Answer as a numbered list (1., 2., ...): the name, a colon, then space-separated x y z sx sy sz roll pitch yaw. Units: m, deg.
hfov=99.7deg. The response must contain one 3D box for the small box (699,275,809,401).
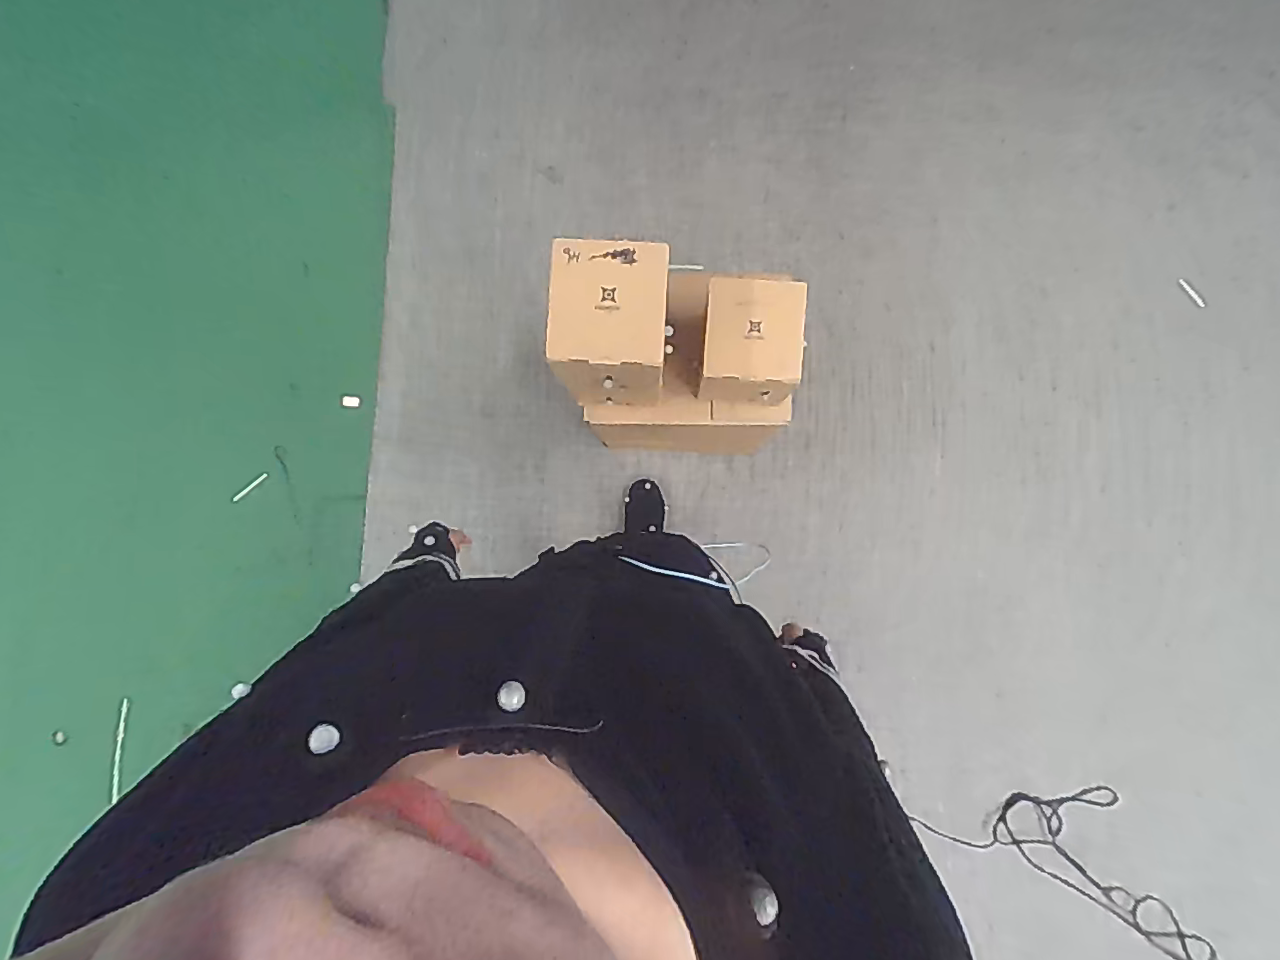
1. small box: 0.198 -0.247 0.982 0.168 0.176 0.179 6 86 3

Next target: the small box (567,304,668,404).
1. small box: -0.039 -0.244 0.992 0.168 0.176 0.179 3 88 1

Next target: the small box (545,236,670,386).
1. small box: -0.043 -0.246 0.828 0.168 0.176 0.179 4 89 1
